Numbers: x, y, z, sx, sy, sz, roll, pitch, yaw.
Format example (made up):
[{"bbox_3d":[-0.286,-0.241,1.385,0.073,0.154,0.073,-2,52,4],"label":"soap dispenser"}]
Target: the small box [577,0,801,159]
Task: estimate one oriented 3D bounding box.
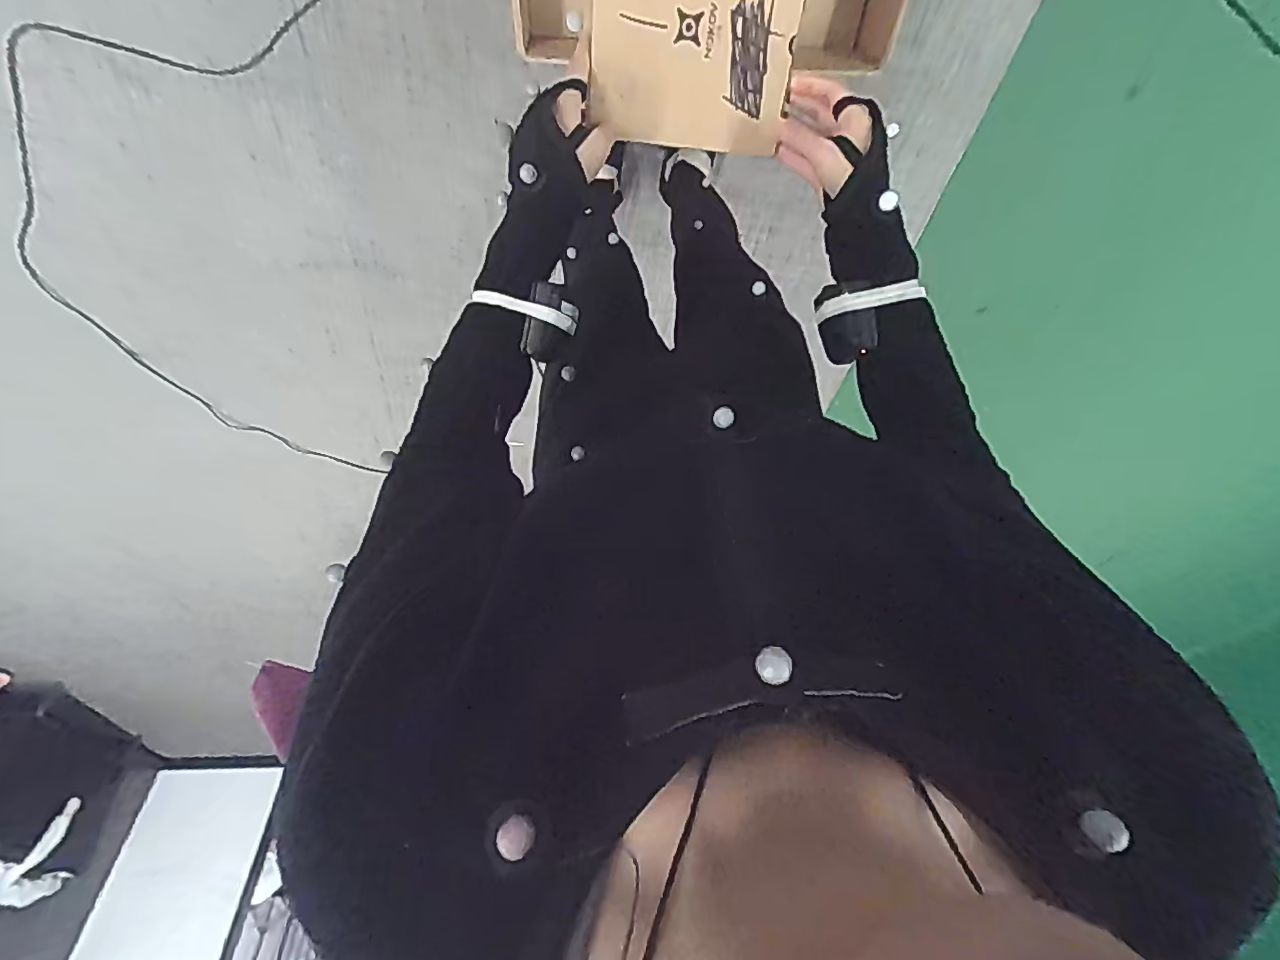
[{"bbox_3d":[0.034,-0.416,0.513,0.179,0.176,0.168,1,125,-9],"label":"small box"}]
